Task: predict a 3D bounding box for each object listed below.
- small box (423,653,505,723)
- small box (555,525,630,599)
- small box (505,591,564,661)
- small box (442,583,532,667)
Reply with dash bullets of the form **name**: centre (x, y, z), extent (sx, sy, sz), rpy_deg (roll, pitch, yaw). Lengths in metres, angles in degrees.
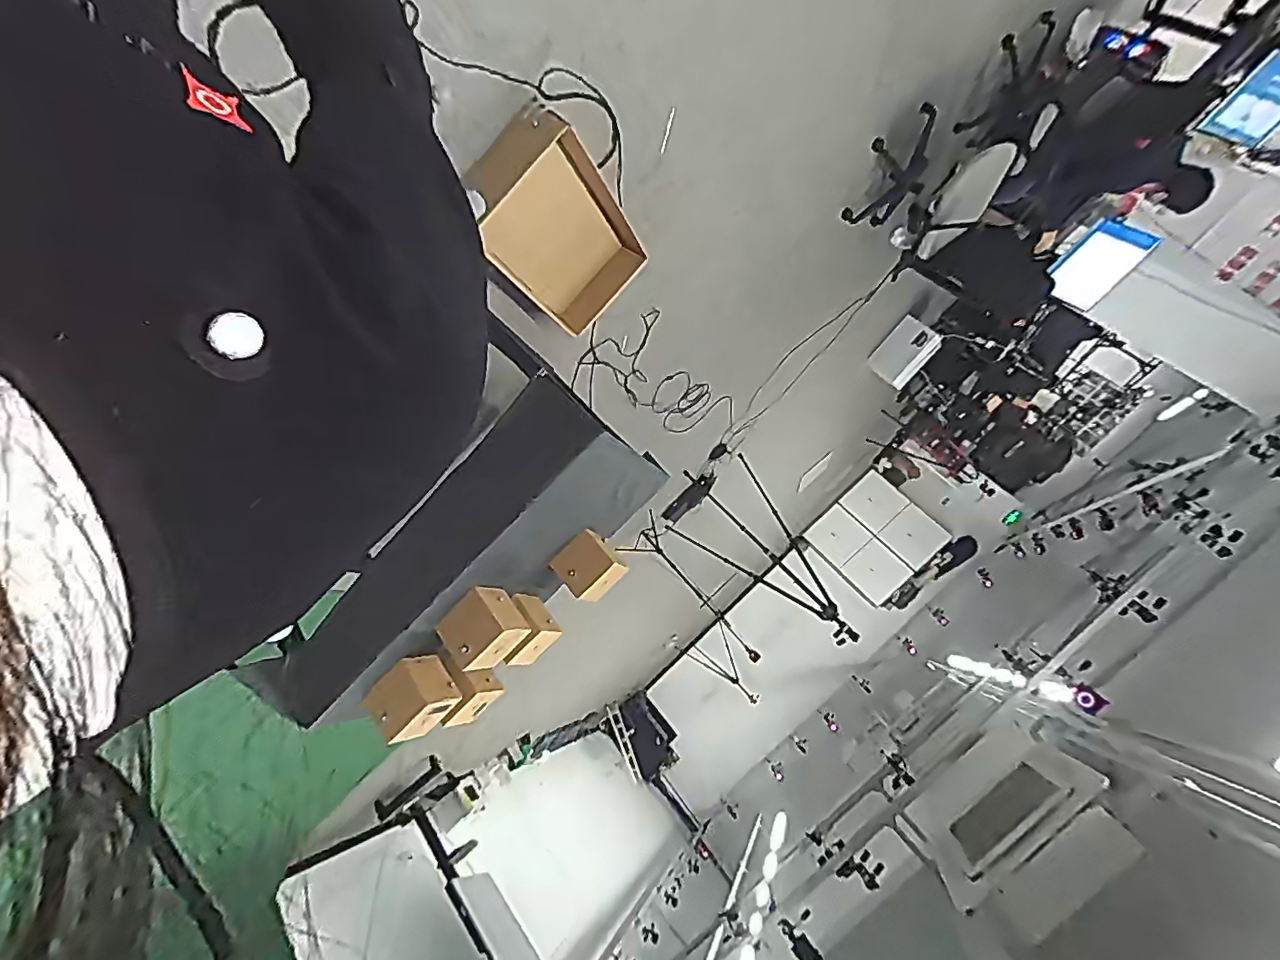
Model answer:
- **small box**: centre (-0.607, 0.705, 1.866), extent (0.168, 0.176, 0.179), rpy_deg (-44, 156, 0)
- **small box**: centre (-0.169, 0.285, 1.858), extent (0.179, 0.176, 0.168), rpy_deg (-43, 157, 2)
- **small box**: centre (-0.401, 0.501, 1.859), extent (0.168, 0.176, 0.179), rpy_deg (-44, 157, 0)
- **small box**: centre (-0.469, 0.437, 1.633), extent (0.179, 0.176, 0.168), rpy_deg (-45, 158, 2)
